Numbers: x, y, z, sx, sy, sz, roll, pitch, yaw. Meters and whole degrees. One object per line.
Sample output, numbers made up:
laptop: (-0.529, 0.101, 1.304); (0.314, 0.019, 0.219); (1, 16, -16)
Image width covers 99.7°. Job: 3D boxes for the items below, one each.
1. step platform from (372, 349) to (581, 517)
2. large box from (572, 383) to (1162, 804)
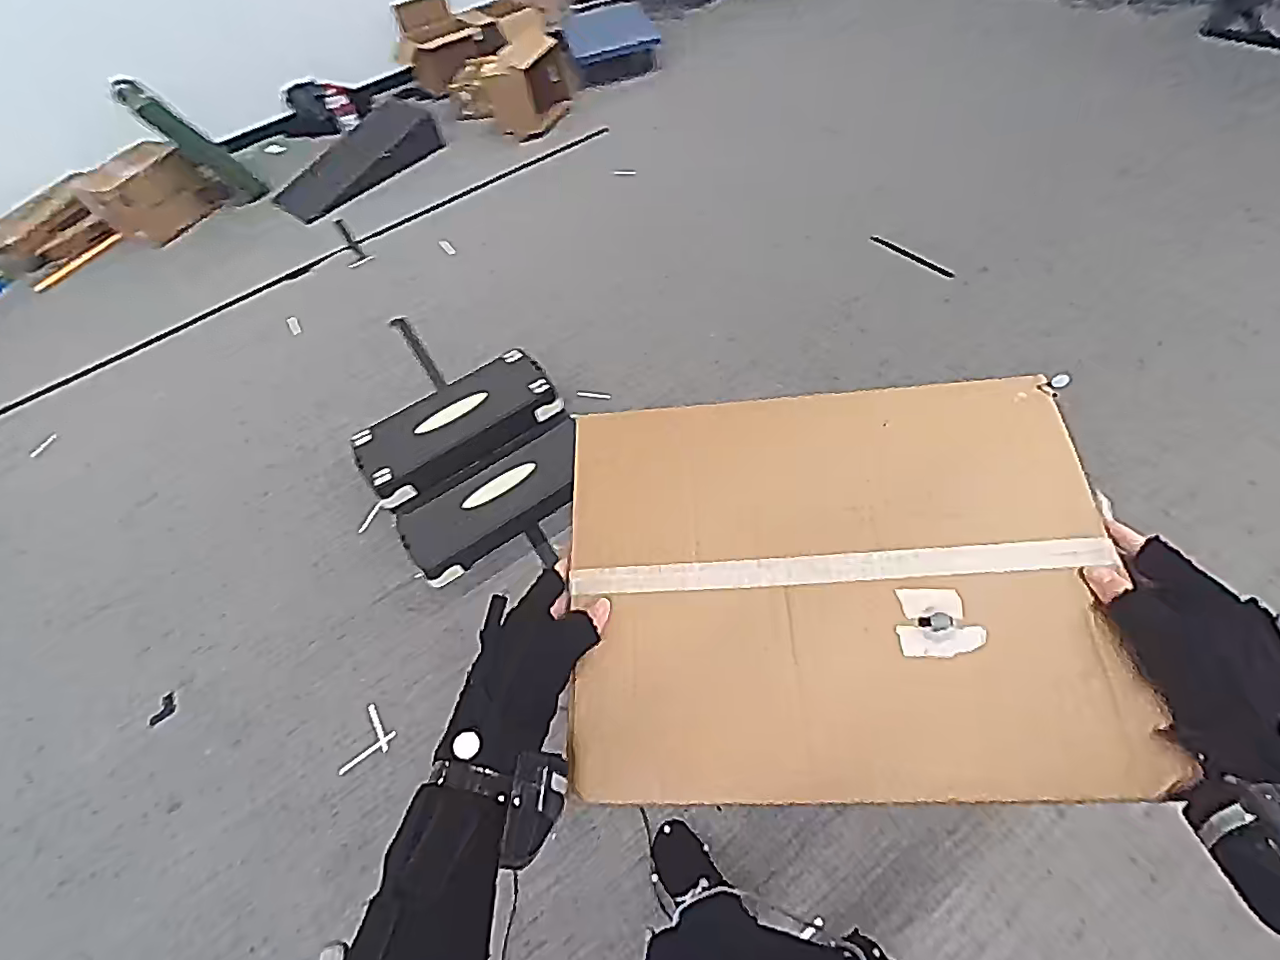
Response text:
step platform: (-0.557, -0.176, 1.869); (0.684, 0.204, 0.286); (-33, 57, -14)
large box: (0.157, 0.133, 0.567); (0.408, 0.320, 0.320); (-5, 66, 6)
